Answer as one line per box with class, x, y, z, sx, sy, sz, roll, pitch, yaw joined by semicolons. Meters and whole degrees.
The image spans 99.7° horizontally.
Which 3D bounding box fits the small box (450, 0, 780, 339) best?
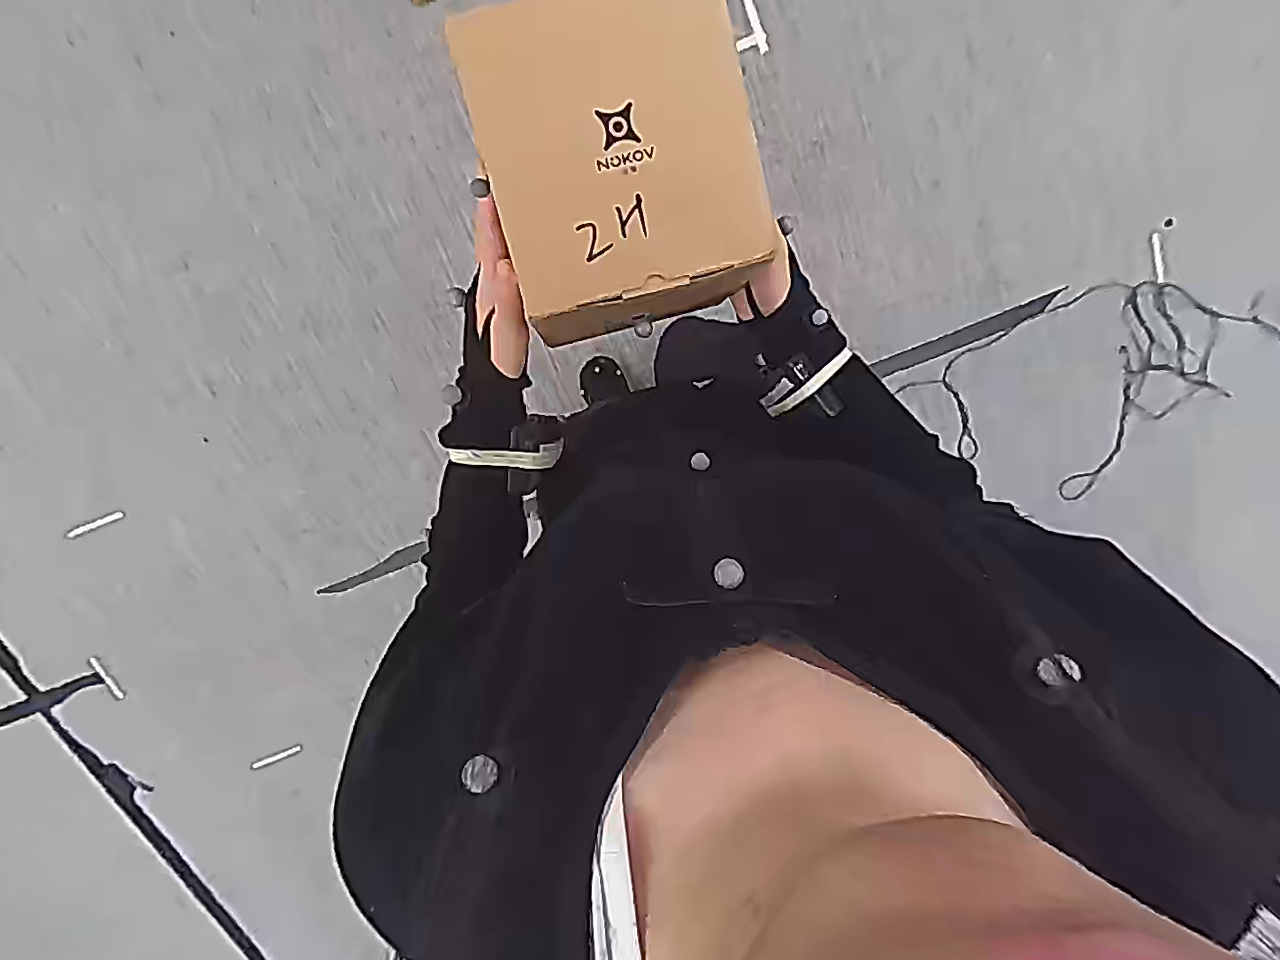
small box;-0.018;-0.218;0.401;0.168;0.176;0.179;-15;99;-2
